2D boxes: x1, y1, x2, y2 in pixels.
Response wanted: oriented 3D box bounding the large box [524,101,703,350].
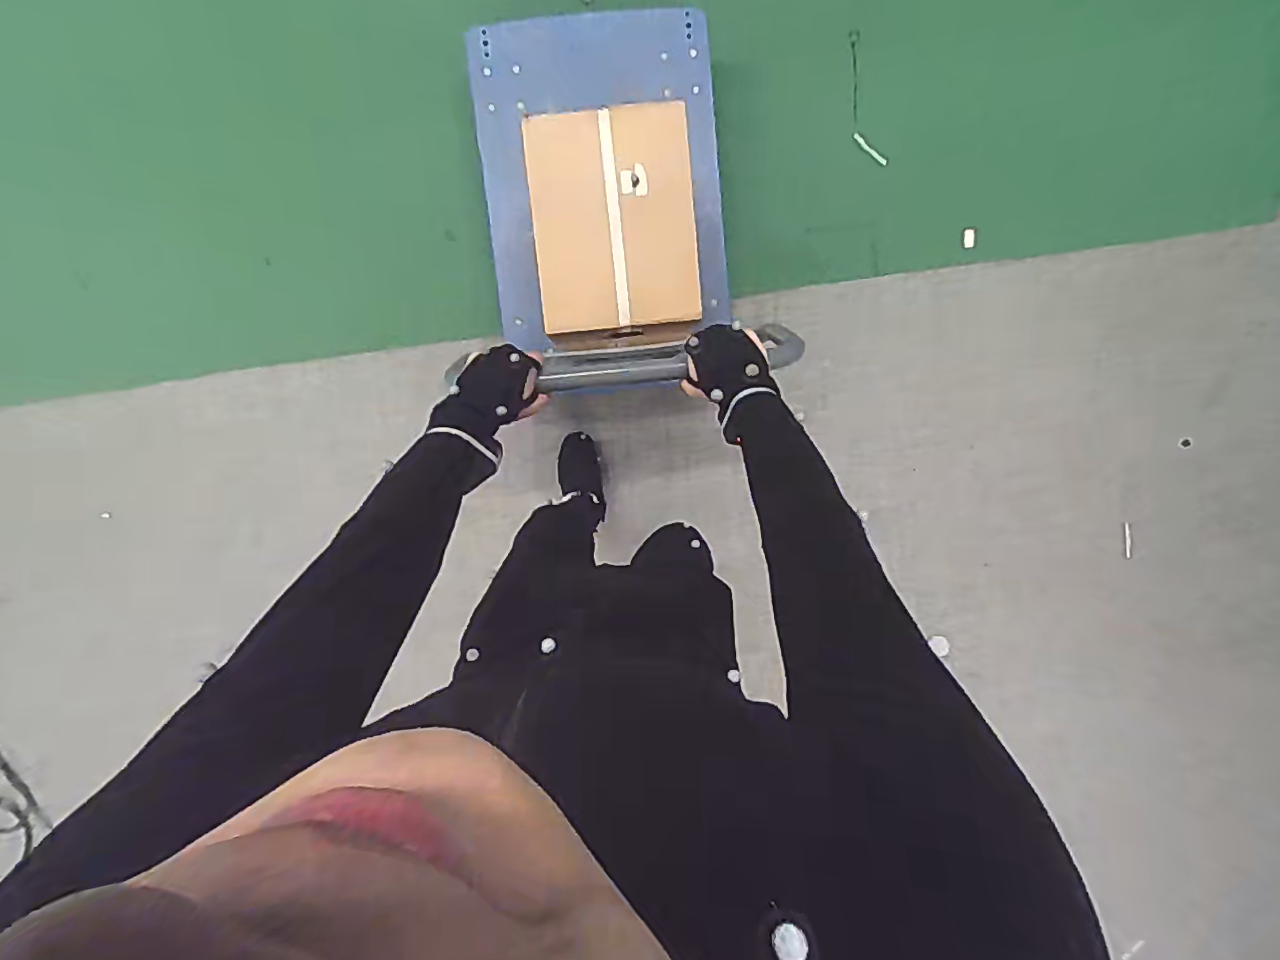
[{"bbox_3d":[-0.049,-0.519,1.186,0.320,0.320,0.408,-5,96,-1],"label":"large box"}]
